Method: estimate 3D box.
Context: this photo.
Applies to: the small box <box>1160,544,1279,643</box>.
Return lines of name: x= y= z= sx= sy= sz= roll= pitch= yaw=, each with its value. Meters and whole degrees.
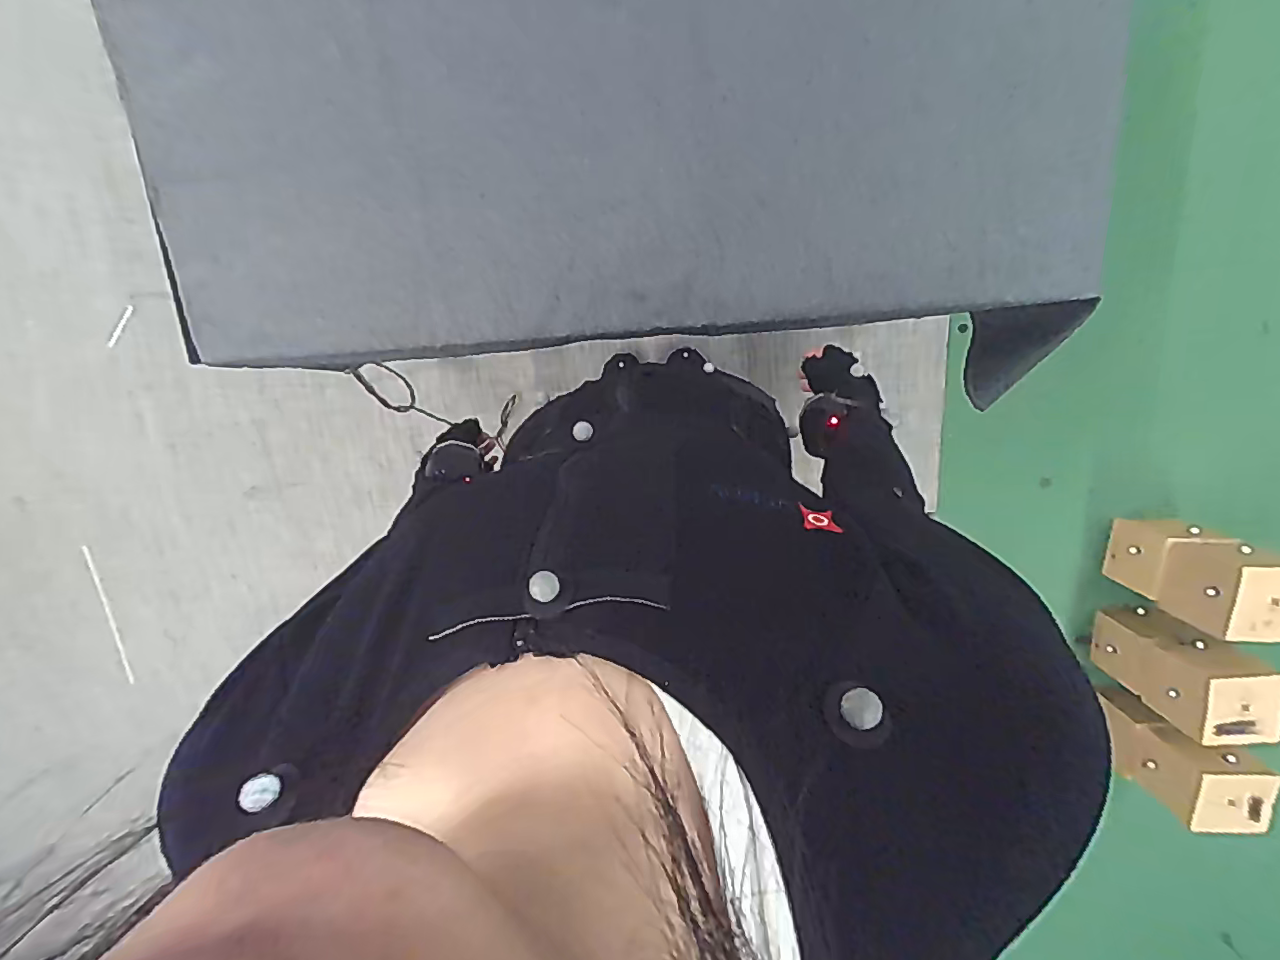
small box: x=1.352 y=0.251 z=1.232 sx=0.168 sy=0.176 sz=0.179 roll=1 pitch=103 yaw=3

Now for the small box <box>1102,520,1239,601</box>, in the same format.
small box: x=1.350 y=0.206 z=1.391 sx=0.179 sy=0.176 sz=0.168 roll=2 pitch=103 yaw=2

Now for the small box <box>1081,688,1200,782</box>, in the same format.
small box: x=1.382 y=0.709 z=1.507 sx=0.168 sy=0.176 sz=0.179 roll=0 pitch=103 yaw=3

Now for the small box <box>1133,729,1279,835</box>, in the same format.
small box: x=1.398 y=0.745 z=1.346 sx=0.179 sy=0.176 sz=0.168 roll=-1 pitch=103 yaw=3
